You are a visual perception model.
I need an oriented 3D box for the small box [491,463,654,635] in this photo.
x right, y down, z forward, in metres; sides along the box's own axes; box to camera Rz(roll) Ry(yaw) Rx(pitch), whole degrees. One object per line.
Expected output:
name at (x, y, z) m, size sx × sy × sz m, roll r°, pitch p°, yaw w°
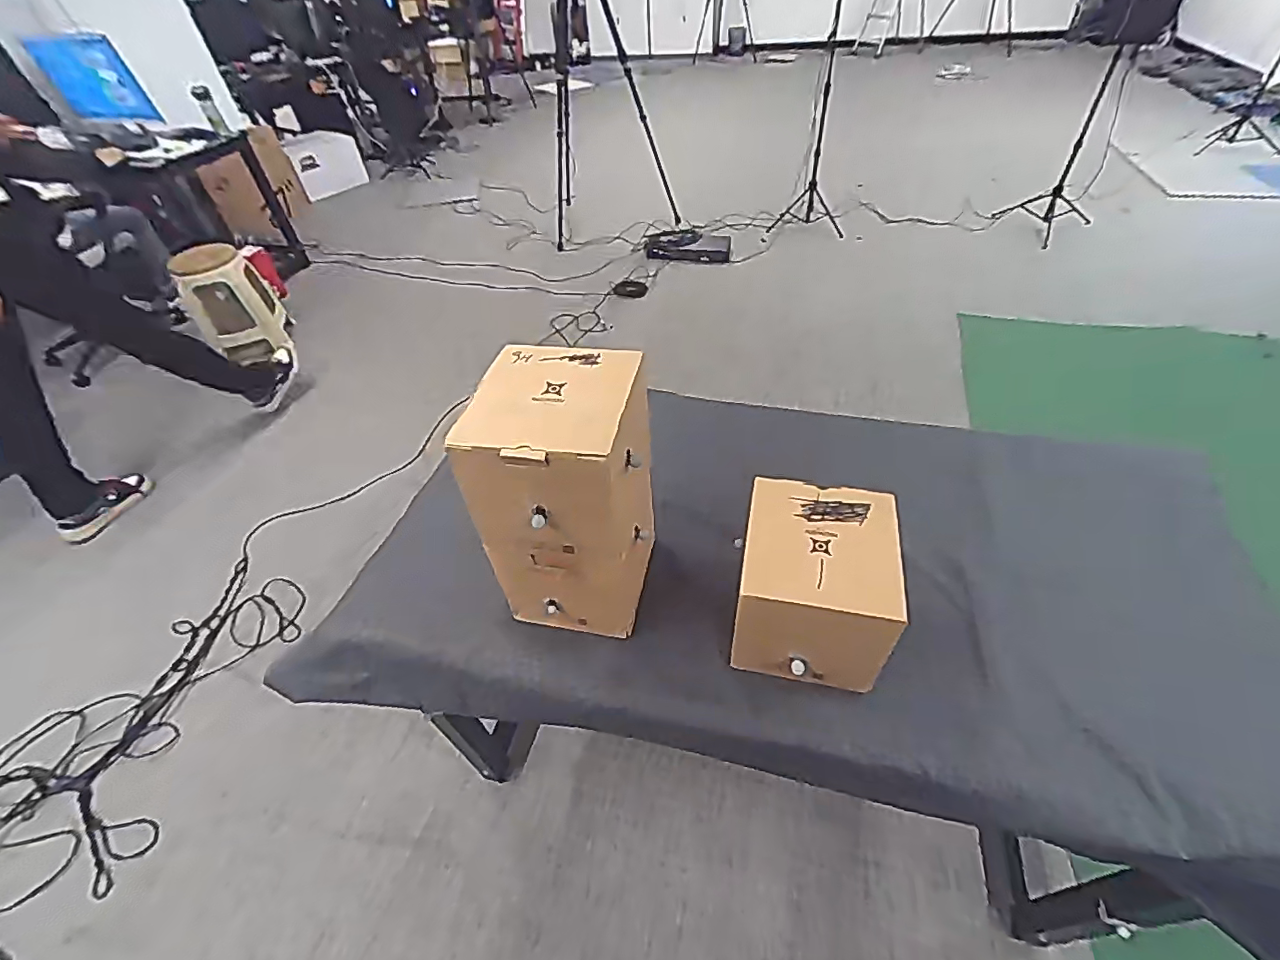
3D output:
small box at (-0.077, 0.082, 0.733) m, size 0.168 × 0.176 × 0.179 m, roll 6°, pitch 47°, yaw 11°

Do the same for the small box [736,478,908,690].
small box at (0.210, 0.124, 0.659) m, size 0.168 × 0.176 × 0.179 m, roll 7°, pitch 46°, yaw 13°

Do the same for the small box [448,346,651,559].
small box at (-0.083, -0.031, 0.614) m, size 0.168 × 0.176 × 0.179 m, roll 5°, pitch 47°, yaw 10°
